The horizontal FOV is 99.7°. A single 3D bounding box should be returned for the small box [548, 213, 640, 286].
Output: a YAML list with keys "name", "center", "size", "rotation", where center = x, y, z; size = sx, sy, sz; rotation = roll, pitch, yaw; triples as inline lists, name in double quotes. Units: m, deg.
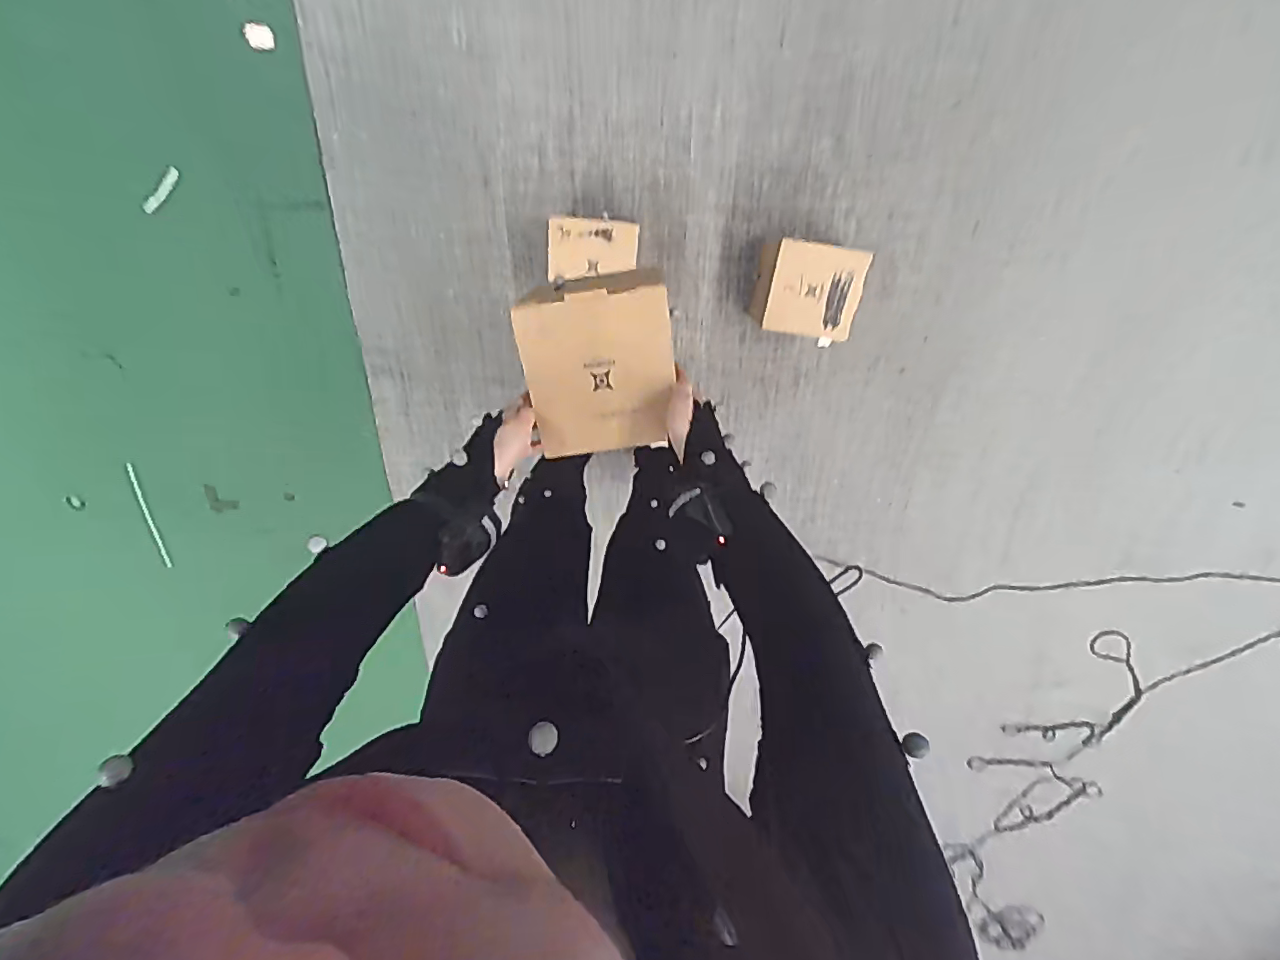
- name: "small box"
  center: [-0.089, -0.433, 1.092]
  size: [0.168, 0.176, 0.179]
  rotation: [5, 117, -2]

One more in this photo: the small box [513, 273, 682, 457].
- name: "small box"
  center: [-0.042, -0.150, 0.667]
  size: [0.168, 0.176, 0.179]
  rotation: [-7, 119, 5]
